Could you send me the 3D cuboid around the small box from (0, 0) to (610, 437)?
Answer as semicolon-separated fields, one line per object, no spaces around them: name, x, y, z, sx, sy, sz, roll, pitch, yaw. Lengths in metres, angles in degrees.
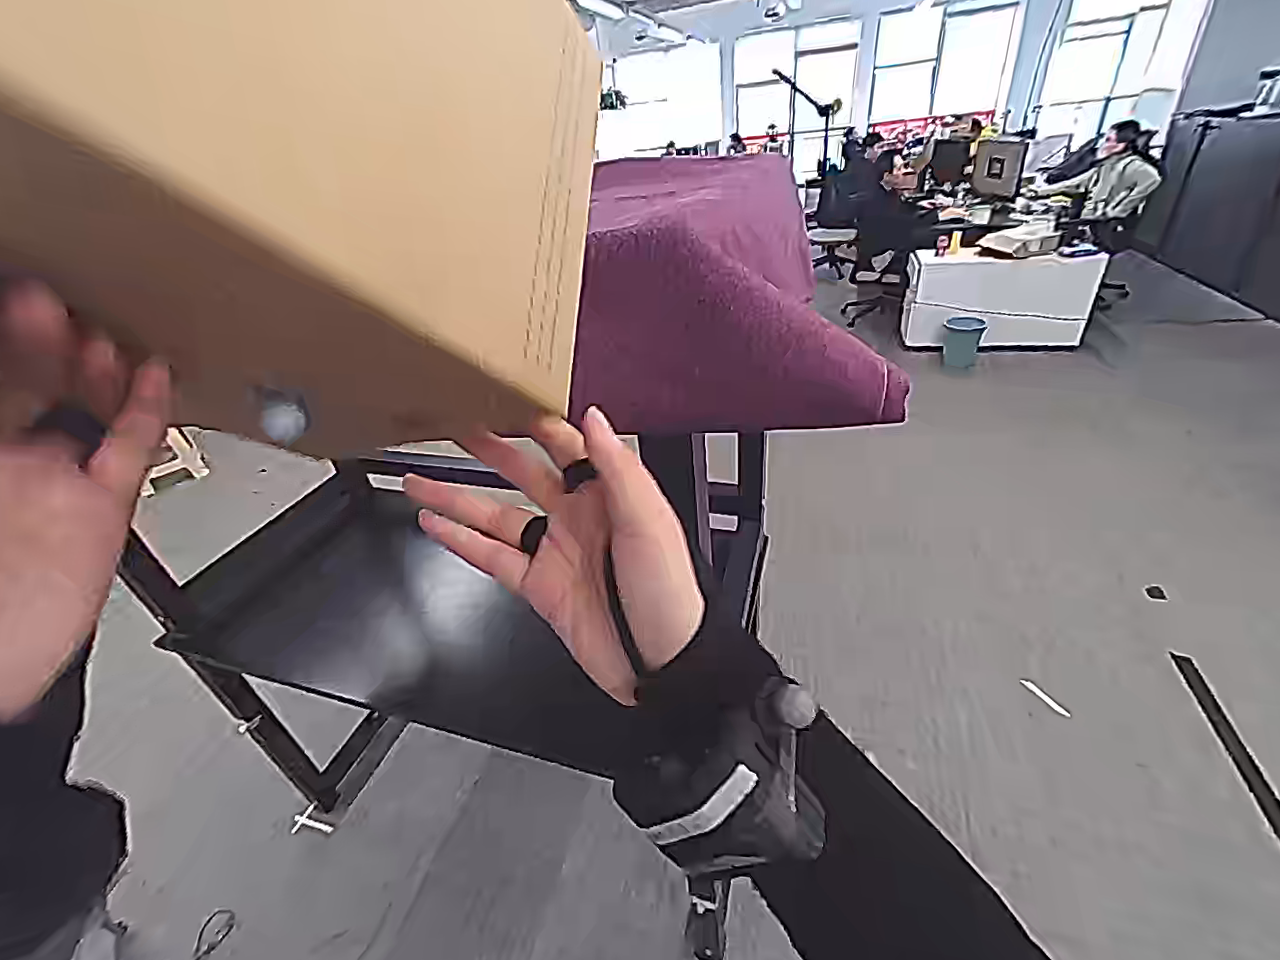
small box;-0.126;-0.132;0.195;0.168;0.176;0.179;-6;70;30
